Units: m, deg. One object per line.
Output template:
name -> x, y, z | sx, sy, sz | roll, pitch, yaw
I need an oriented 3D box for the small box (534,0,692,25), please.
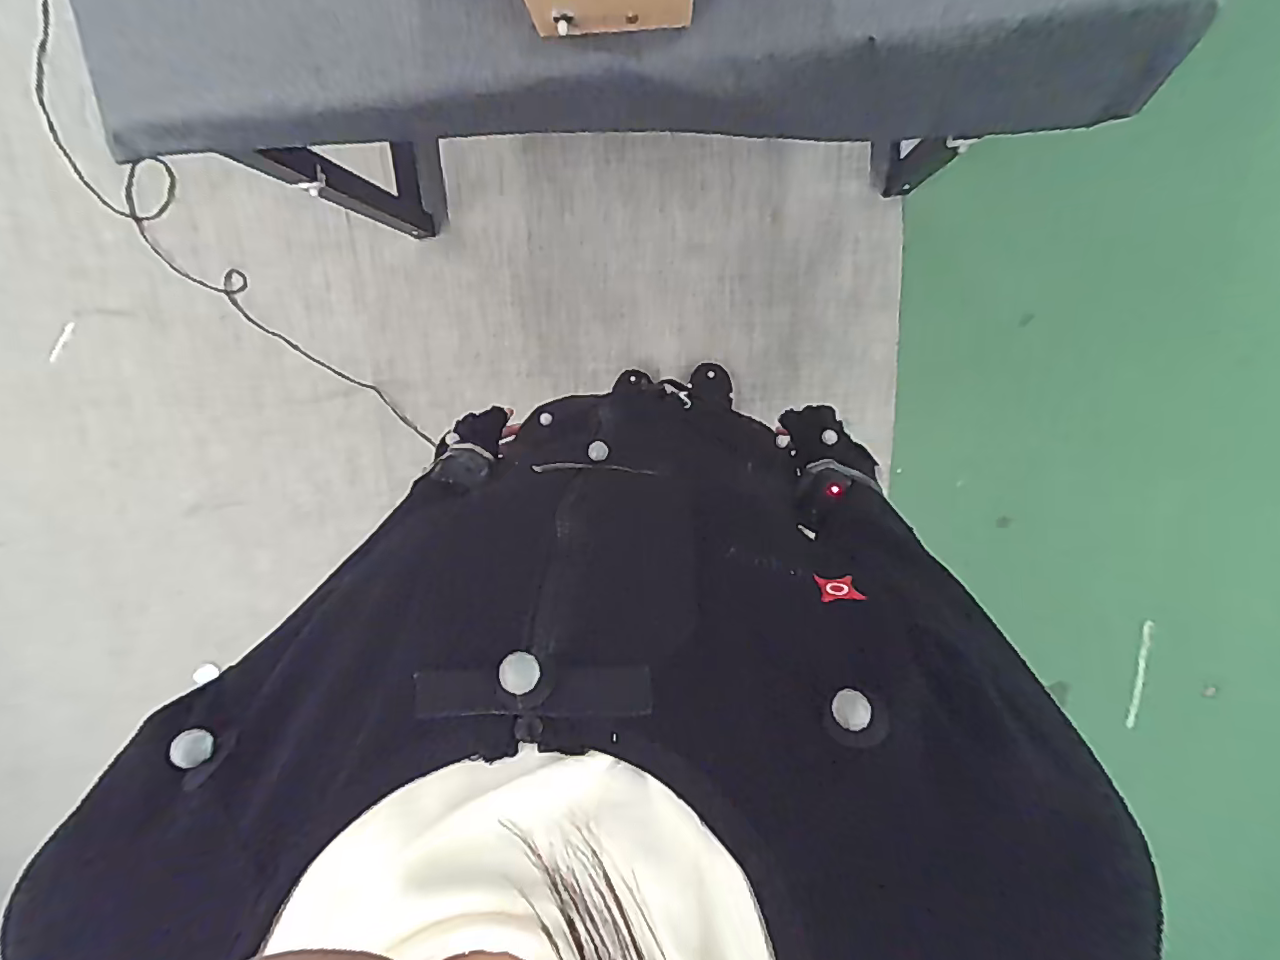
small box -> -0.032, -0.555, 0.491 | 0.168, 0.176, 0.179 | 1, 102, 4
